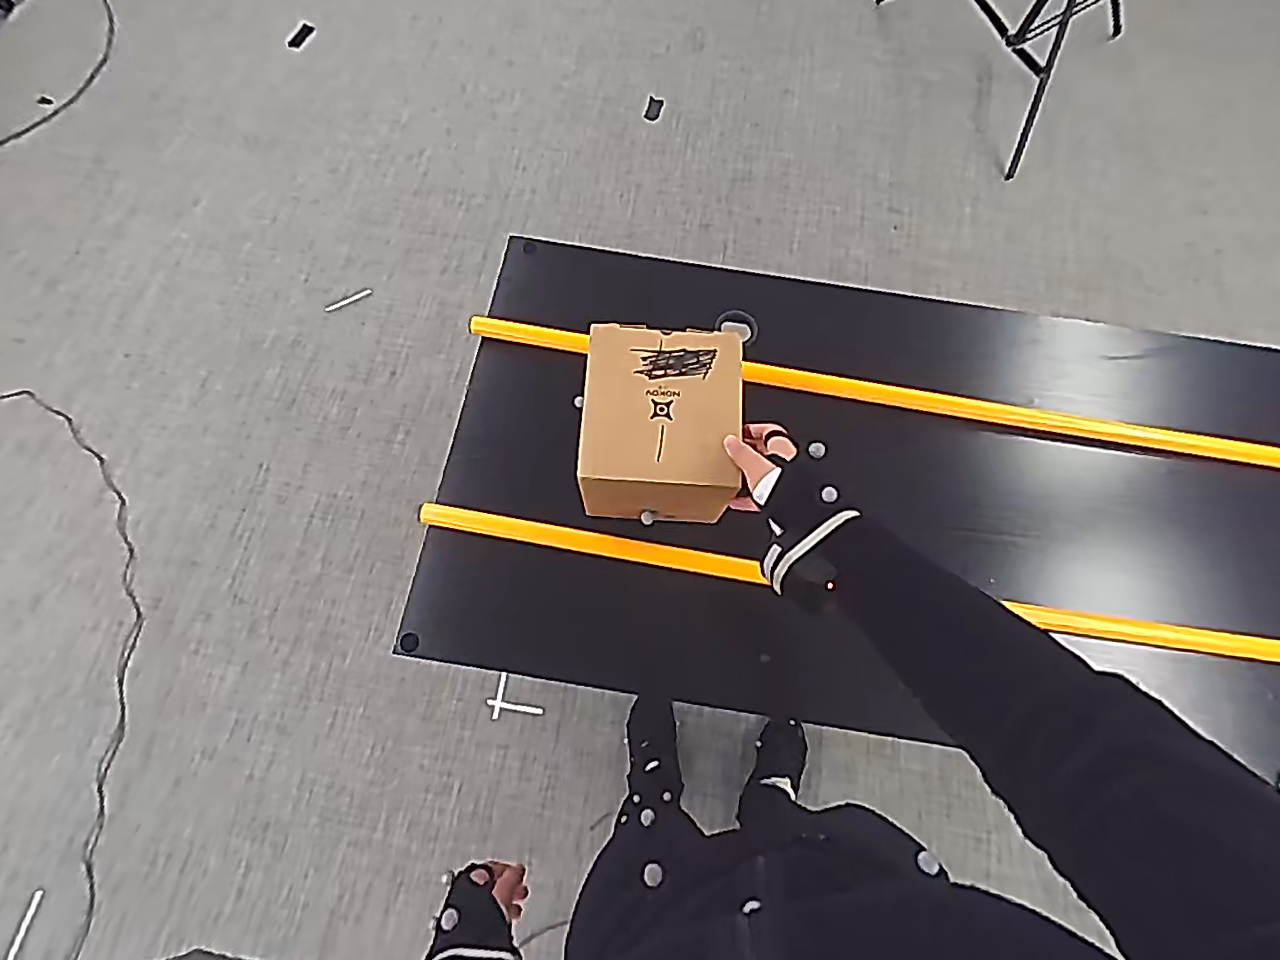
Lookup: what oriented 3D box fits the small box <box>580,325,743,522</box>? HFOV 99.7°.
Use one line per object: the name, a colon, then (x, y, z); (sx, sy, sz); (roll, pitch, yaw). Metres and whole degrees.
small box: (0.023, -0.058, 0.641); (0.168, 0.176, 0.179); (4, 73, 0)
